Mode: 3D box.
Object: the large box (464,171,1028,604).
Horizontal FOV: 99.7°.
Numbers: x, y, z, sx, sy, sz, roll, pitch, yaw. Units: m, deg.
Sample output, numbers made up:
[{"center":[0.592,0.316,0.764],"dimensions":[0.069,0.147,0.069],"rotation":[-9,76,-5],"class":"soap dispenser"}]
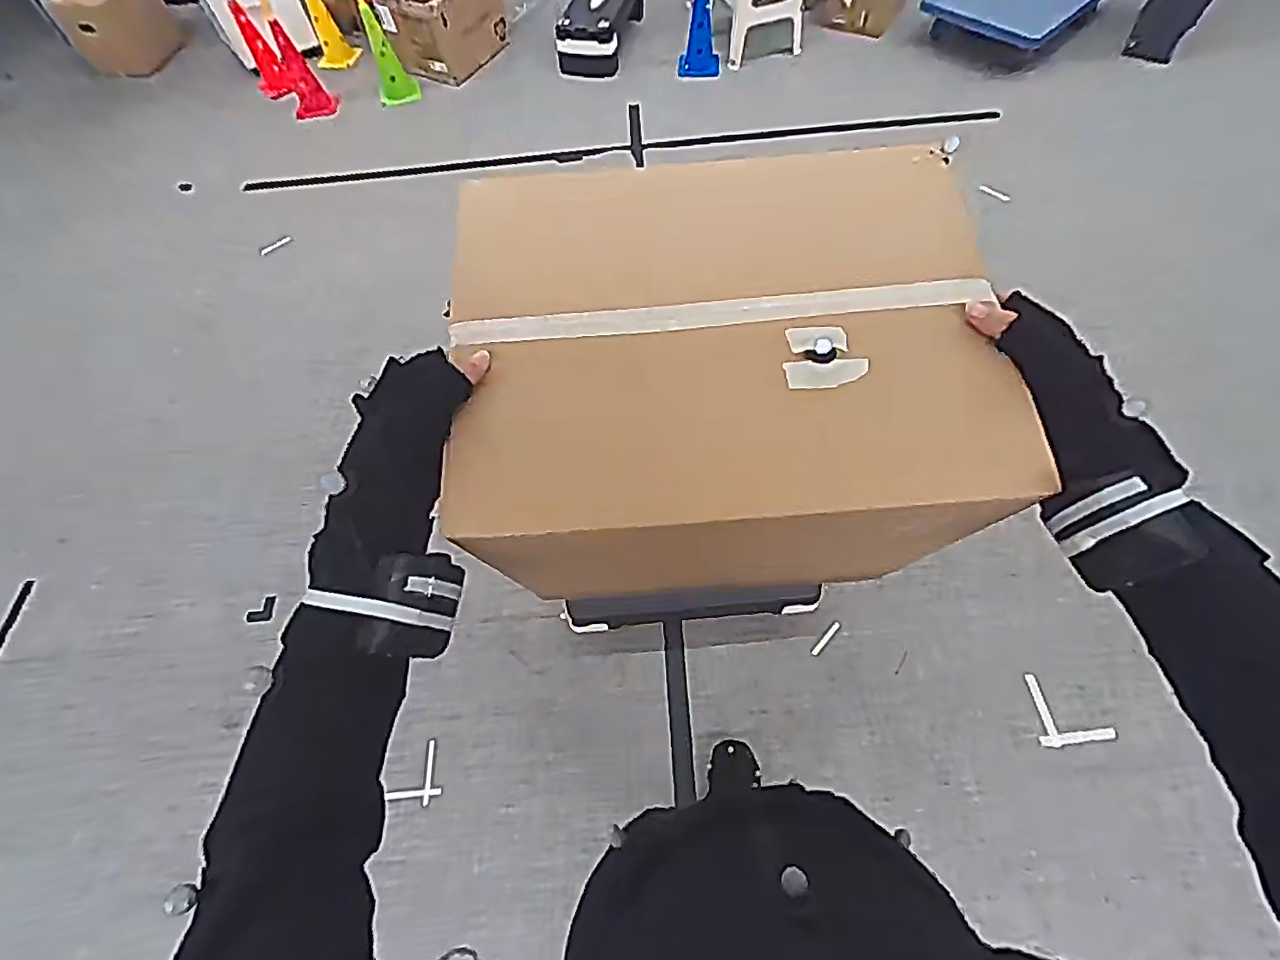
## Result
[{"center":[0.065,-0.063,0.565],"dimensions":[0.408,0.320,0.320],"rotation":[-5,70,0],"class":"large box"}]
